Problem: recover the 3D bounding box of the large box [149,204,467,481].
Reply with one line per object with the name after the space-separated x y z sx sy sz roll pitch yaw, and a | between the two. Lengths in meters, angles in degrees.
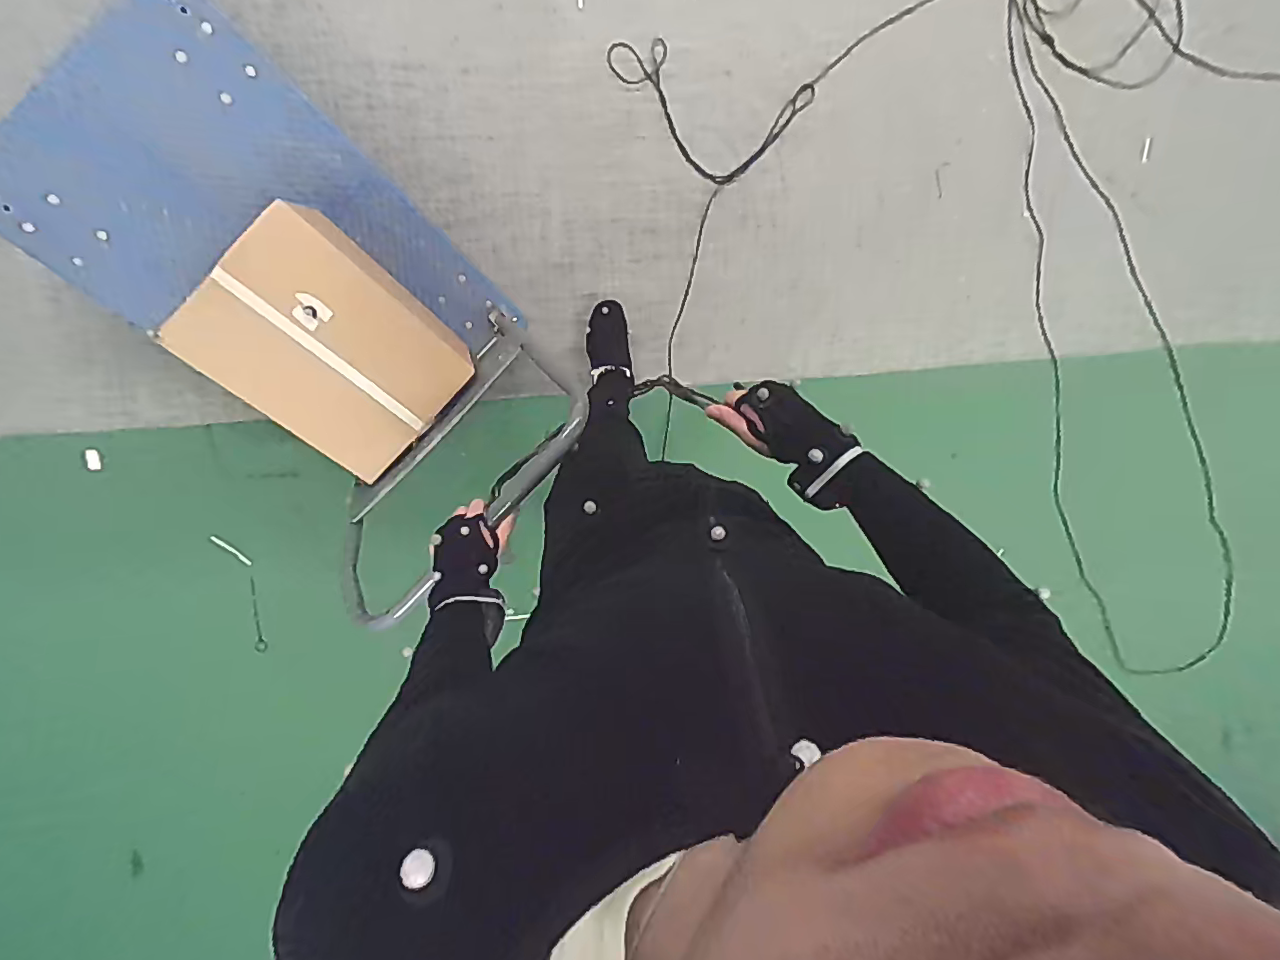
-0.608 -0.271 1.090 0.320 0.320 0.408 -46 118 2 | large box
